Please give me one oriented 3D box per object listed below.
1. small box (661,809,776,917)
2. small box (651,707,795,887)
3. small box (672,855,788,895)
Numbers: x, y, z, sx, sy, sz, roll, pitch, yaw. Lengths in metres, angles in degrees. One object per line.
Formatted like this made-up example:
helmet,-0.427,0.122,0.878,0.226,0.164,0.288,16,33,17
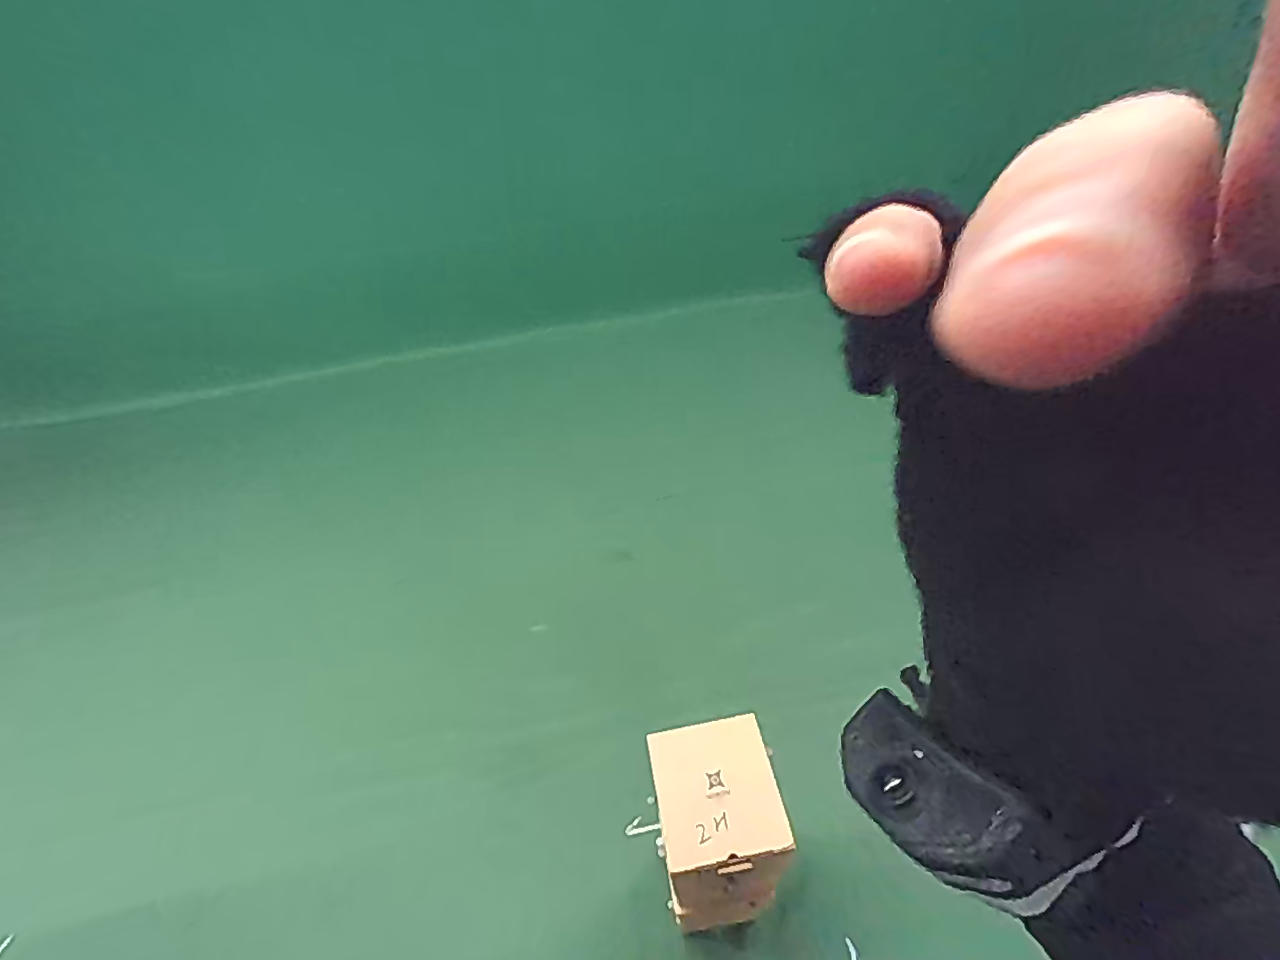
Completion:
small box,0.145,0.705,1.028,0.179,0.176,0.168,-10,46,-3
small box,0.113,0.469,0.800,0.168,0.176,0.179,-11,45,-2
small box,0.134,0.580,0.918,0.179,0.176,0.168,-9,44,-2
